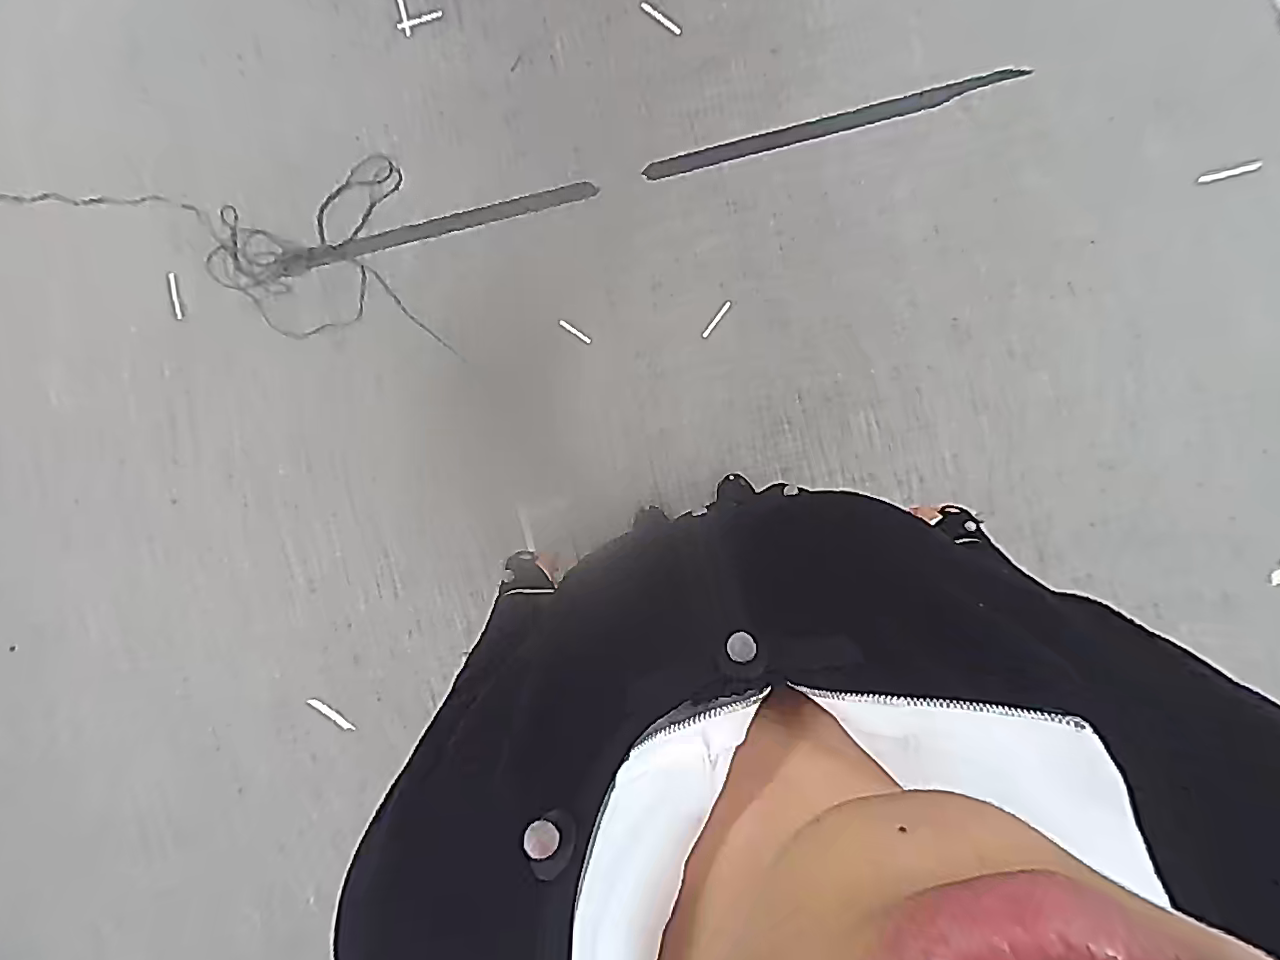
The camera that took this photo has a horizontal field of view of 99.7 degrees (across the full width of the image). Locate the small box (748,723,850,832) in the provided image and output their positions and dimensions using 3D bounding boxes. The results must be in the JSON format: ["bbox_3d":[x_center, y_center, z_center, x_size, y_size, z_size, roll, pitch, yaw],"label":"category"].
[{"bbox_3d":[0.345,0.636,1.206,0.168,0.176,0.179,-15,89,4],"label":"small box"}]
